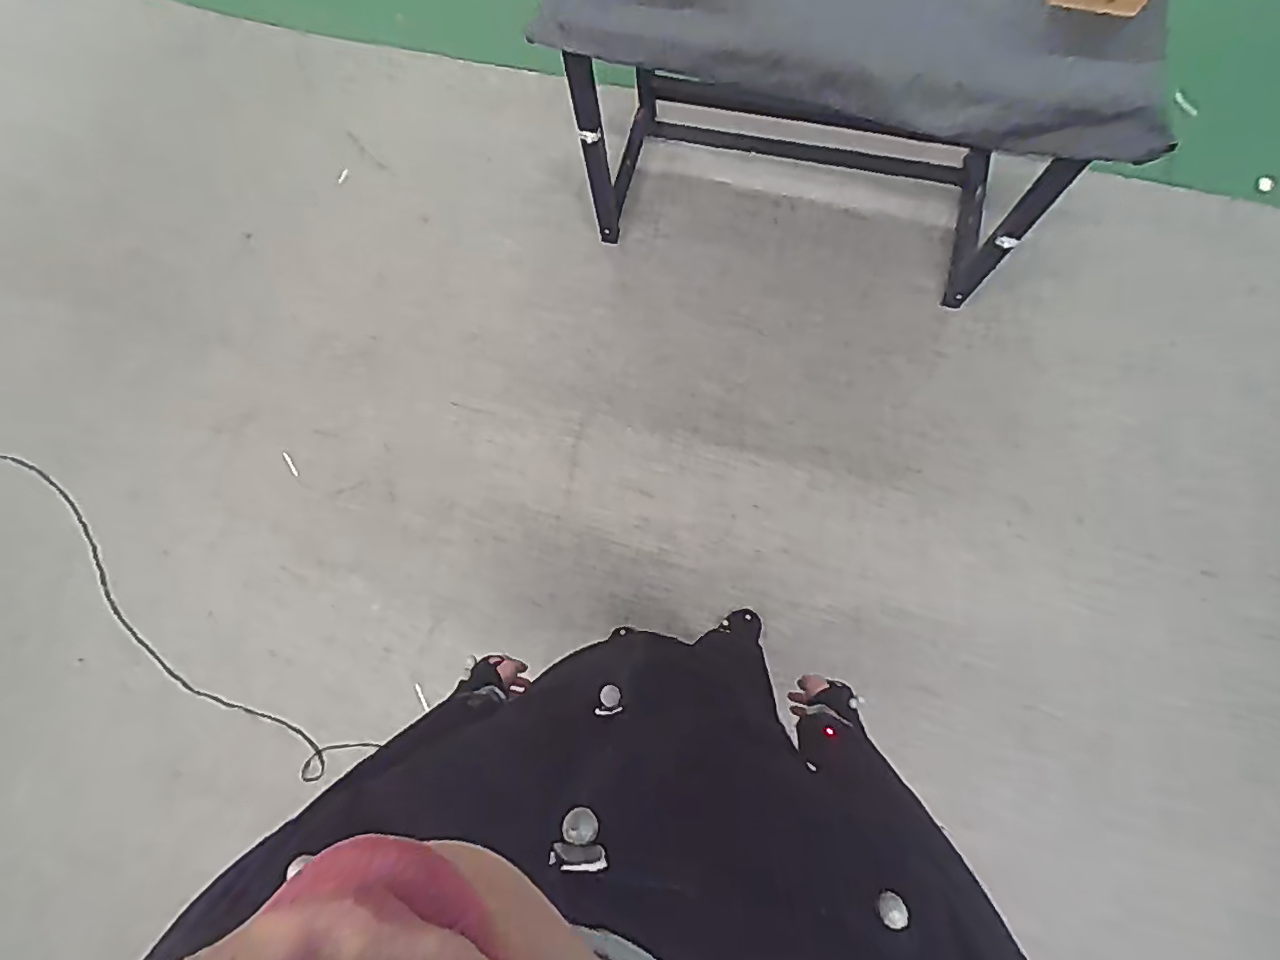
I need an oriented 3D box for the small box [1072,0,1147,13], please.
[{"bbox_3d":[0.900,-1.010,0.988,0.168,0.176,0.179,17,77,8],"label":"small box"}]
